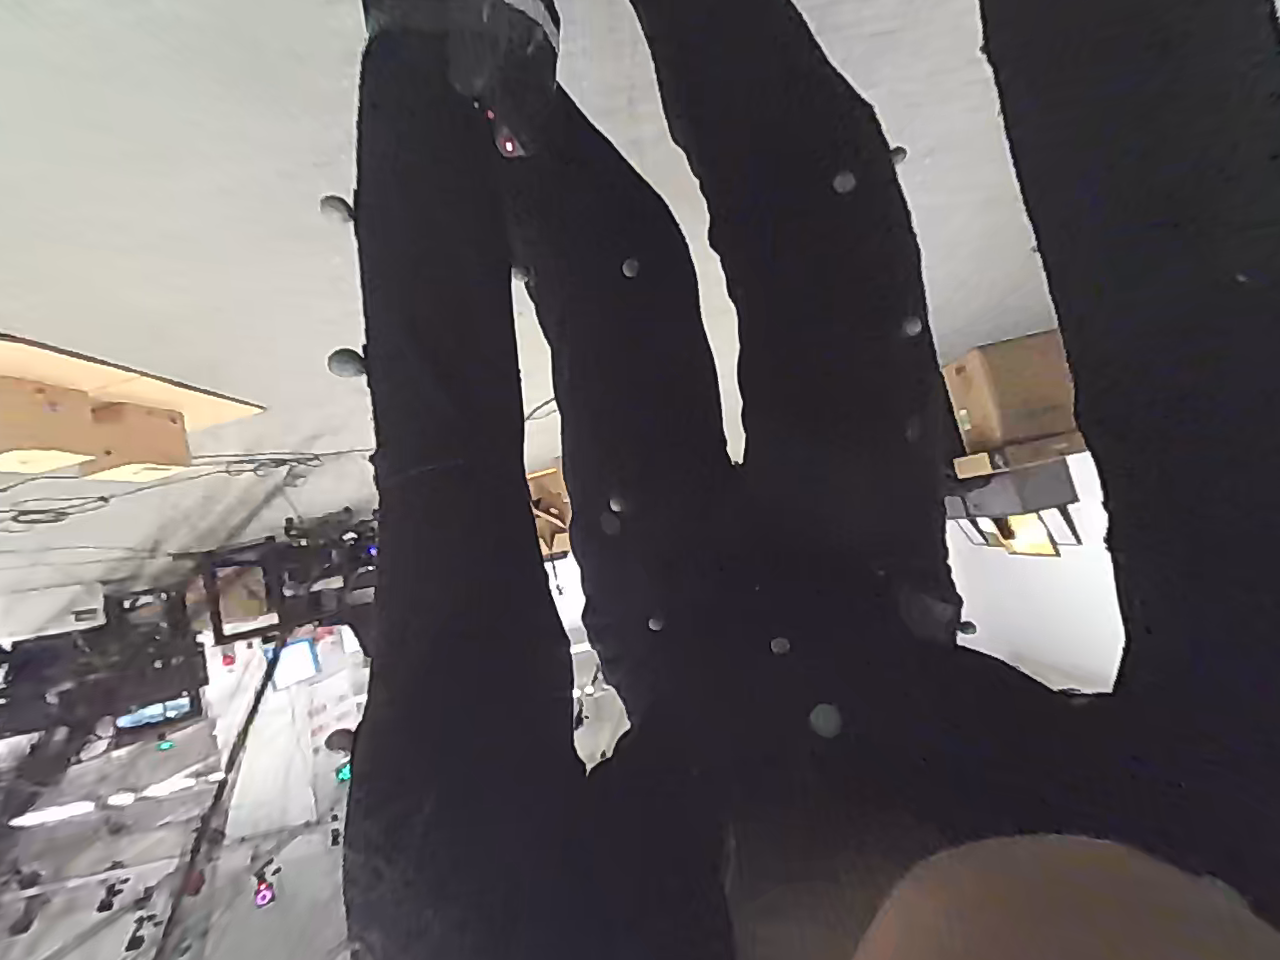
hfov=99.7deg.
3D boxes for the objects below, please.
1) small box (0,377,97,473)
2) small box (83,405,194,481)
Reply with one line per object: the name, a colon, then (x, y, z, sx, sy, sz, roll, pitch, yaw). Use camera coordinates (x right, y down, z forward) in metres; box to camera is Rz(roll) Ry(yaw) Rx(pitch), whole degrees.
small box: (-1.433, -0.123, 1.255, 0.179, 0.176, 0.168, -14, 175, 3)
small box: (-1.403, -0.100, 1.504, 0.179, 0.176, 0.168, -14, 174, 8)
